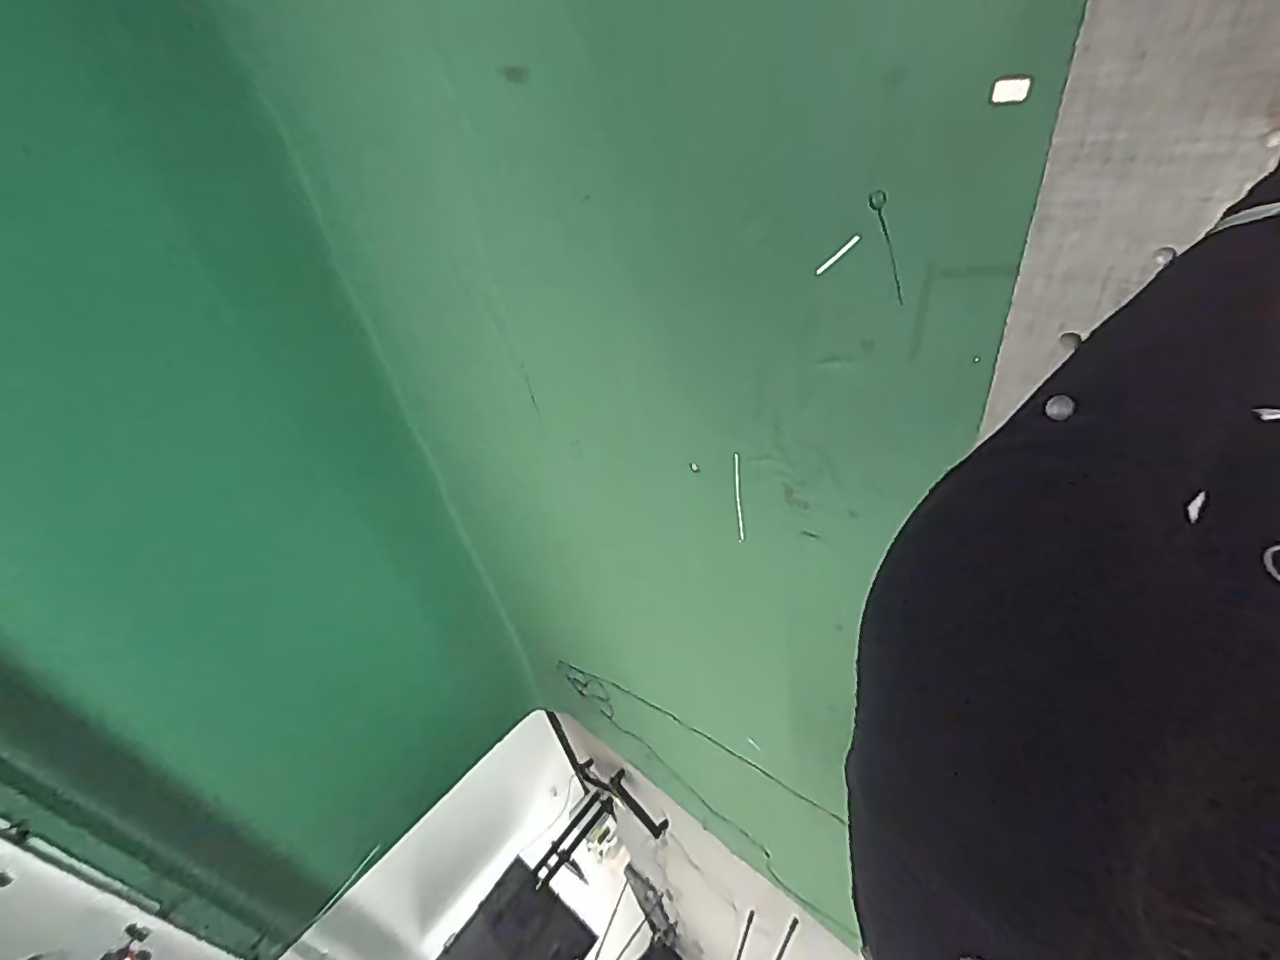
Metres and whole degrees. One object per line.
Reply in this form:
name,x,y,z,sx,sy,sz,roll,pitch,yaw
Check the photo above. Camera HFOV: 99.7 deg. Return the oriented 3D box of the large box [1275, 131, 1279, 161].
large box,0.817,-0.515,0.428,0.320,0.320,0.408,20,135,39
